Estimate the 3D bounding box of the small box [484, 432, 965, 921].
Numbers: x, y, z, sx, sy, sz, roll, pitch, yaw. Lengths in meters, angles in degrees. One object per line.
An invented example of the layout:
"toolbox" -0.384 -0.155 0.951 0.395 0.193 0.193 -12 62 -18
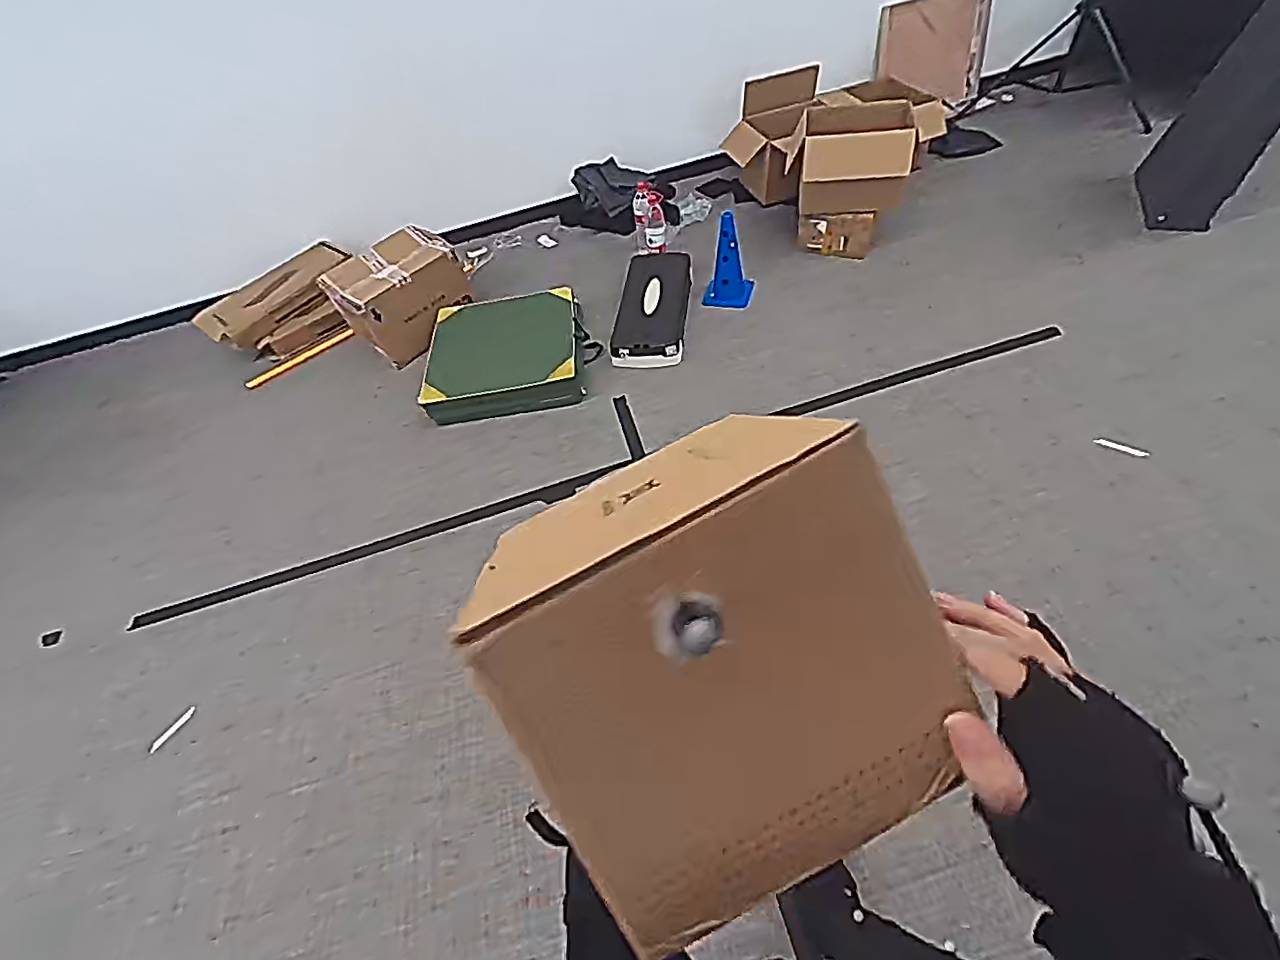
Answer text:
"small box" 0.038 0.087 0.309 0.179 0.176 0.168 -28 11 -5
